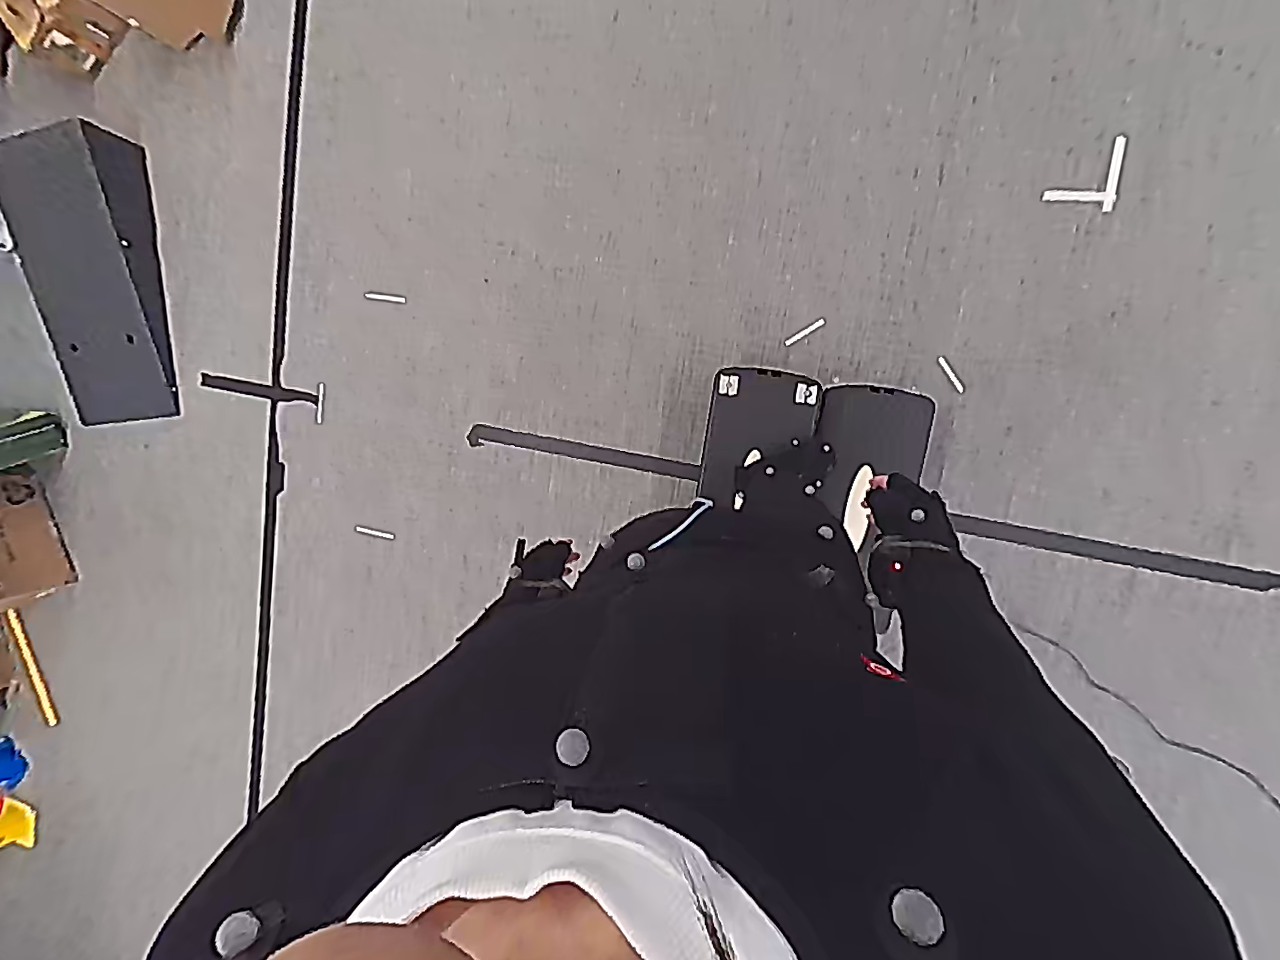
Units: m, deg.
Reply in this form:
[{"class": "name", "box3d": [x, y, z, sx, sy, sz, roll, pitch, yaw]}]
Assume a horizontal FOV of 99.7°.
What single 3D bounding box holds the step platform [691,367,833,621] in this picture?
[{"class": "step platform", "box3d": [0.328, 0.036, 1.490, 0.286, 0.204, 0.684, 9, 96, 12]}]
